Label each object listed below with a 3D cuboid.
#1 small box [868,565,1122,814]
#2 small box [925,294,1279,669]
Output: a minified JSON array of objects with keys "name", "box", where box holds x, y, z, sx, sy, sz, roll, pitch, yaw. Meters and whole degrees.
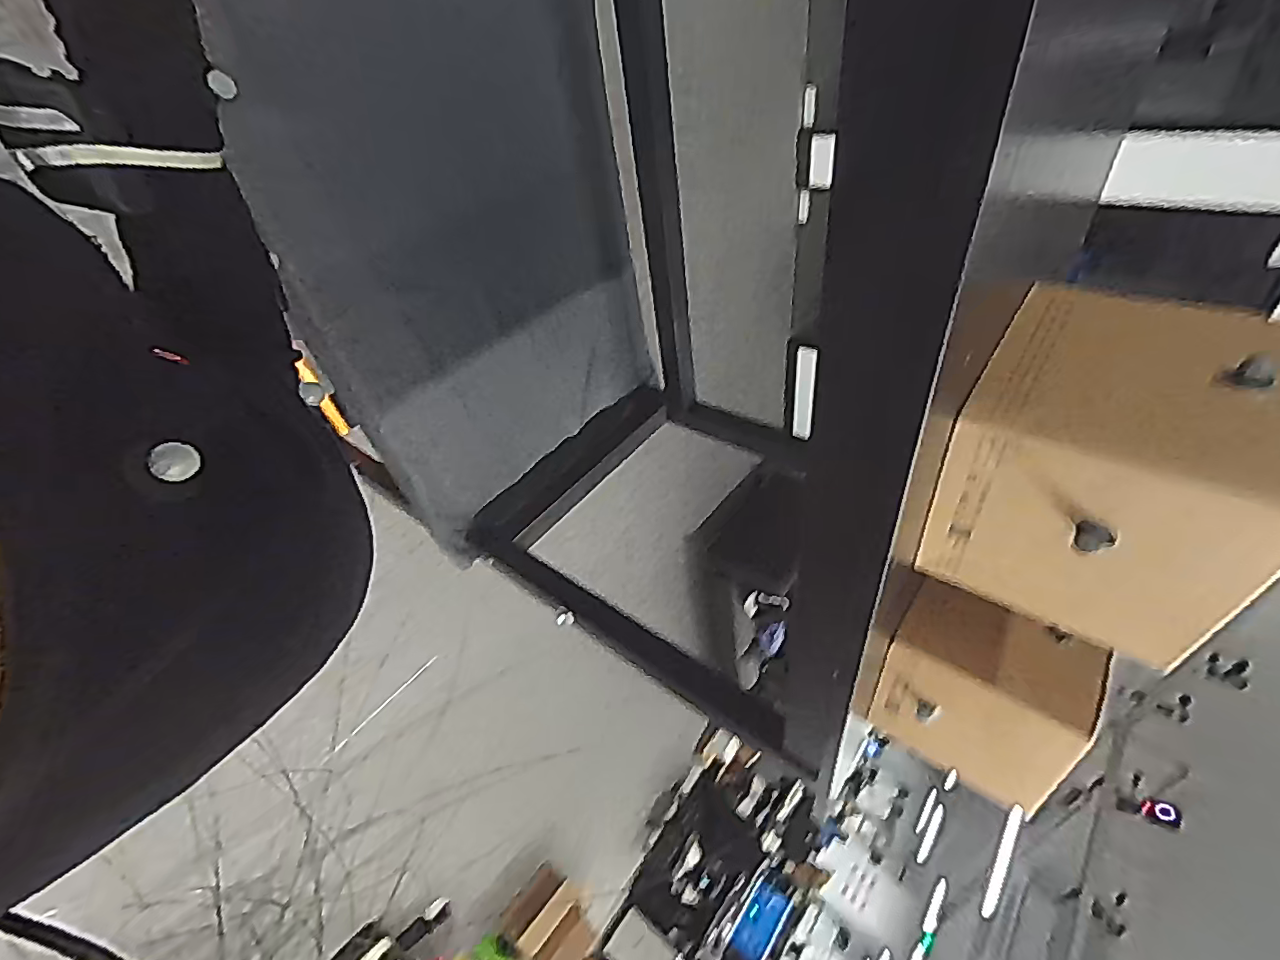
[{"name":"small box","box":[0.374,0.201,0.586,0.179,0.176,0.168,-38,138,-34]},{"name":"small box","box":[0.329,-0.010,0.387,0.179,0.176,0.168,-47,143,-27]}]
